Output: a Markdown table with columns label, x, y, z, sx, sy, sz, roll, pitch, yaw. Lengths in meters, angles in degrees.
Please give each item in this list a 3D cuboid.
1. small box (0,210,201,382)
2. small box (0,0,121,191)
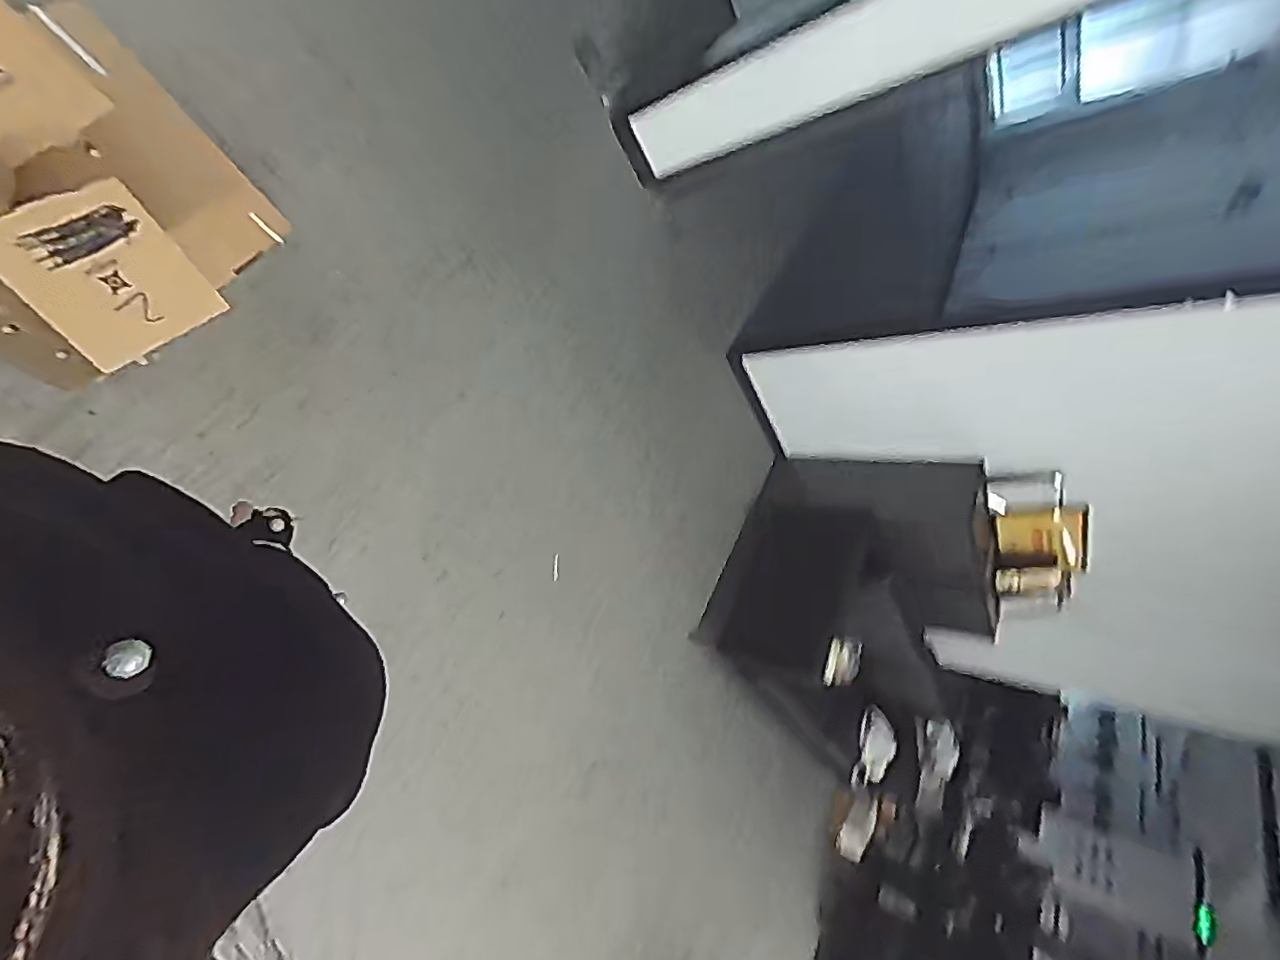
| label | x | y | z | sx | sy | sz | roll | pitch | yaw |
| --- | --- | --- | --- | --- | --- | --- | --- | --- | --- |
| small box | -0.819 | -0.263 | 0.800 | 0.179 | 0.176 | 0.168 | -58 | 133 | -31 |
| small box | -0.869 | -0.520 | 0.726 | 0.179 | 0.176 | 0.168 | 51 | 53 | -38 |
